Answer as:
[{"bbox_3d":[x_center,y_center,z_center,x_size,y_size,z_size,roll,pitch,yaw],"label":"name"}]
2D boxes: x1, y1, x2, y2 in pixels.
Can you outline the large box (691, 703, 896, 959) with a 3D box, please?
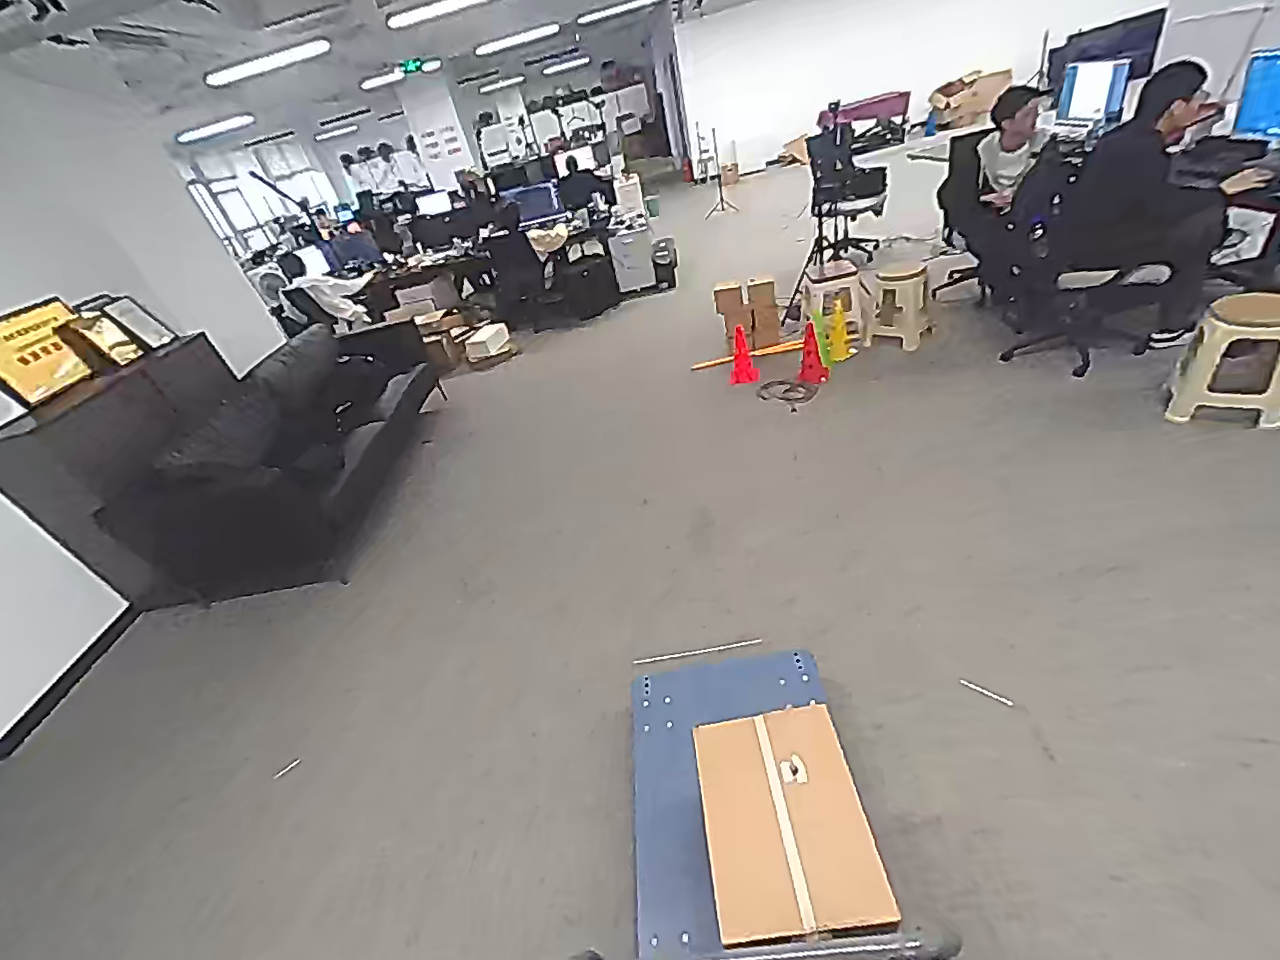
[{"bbox_3d":[0.313,0.774,1.171,0.320,0.320,0.408,-12,35,5],"label":"large box"}]
